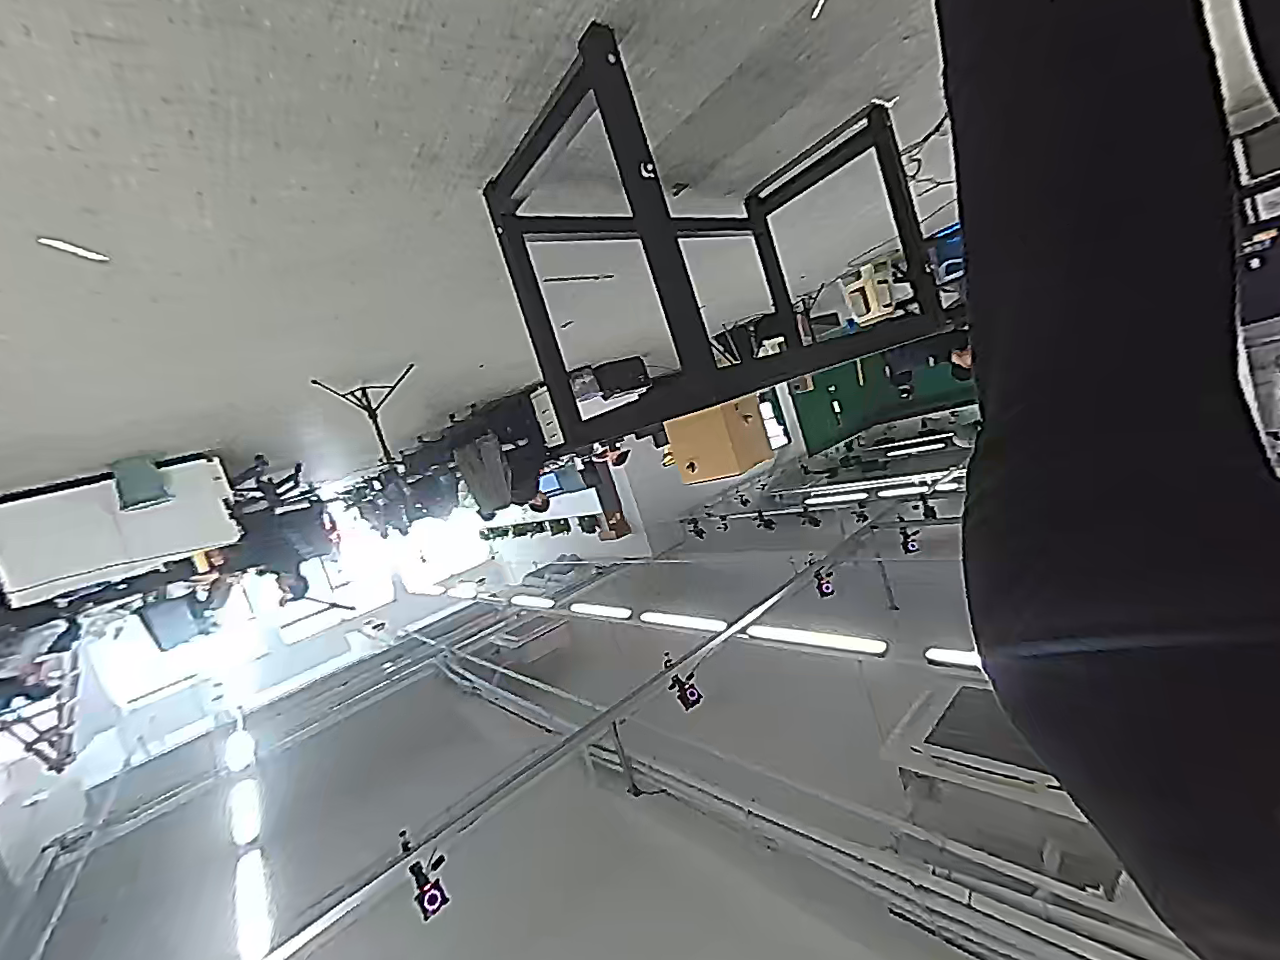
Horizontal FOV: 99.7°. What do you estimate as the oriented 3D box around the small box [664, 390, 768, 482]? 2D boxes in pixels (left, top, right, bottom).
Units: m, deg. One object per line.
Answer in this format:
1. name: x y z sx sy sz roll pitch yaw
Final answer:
1. small box: 0.177 -0.107 1.299 0.179 0.176 0.168 -12 -171 45
